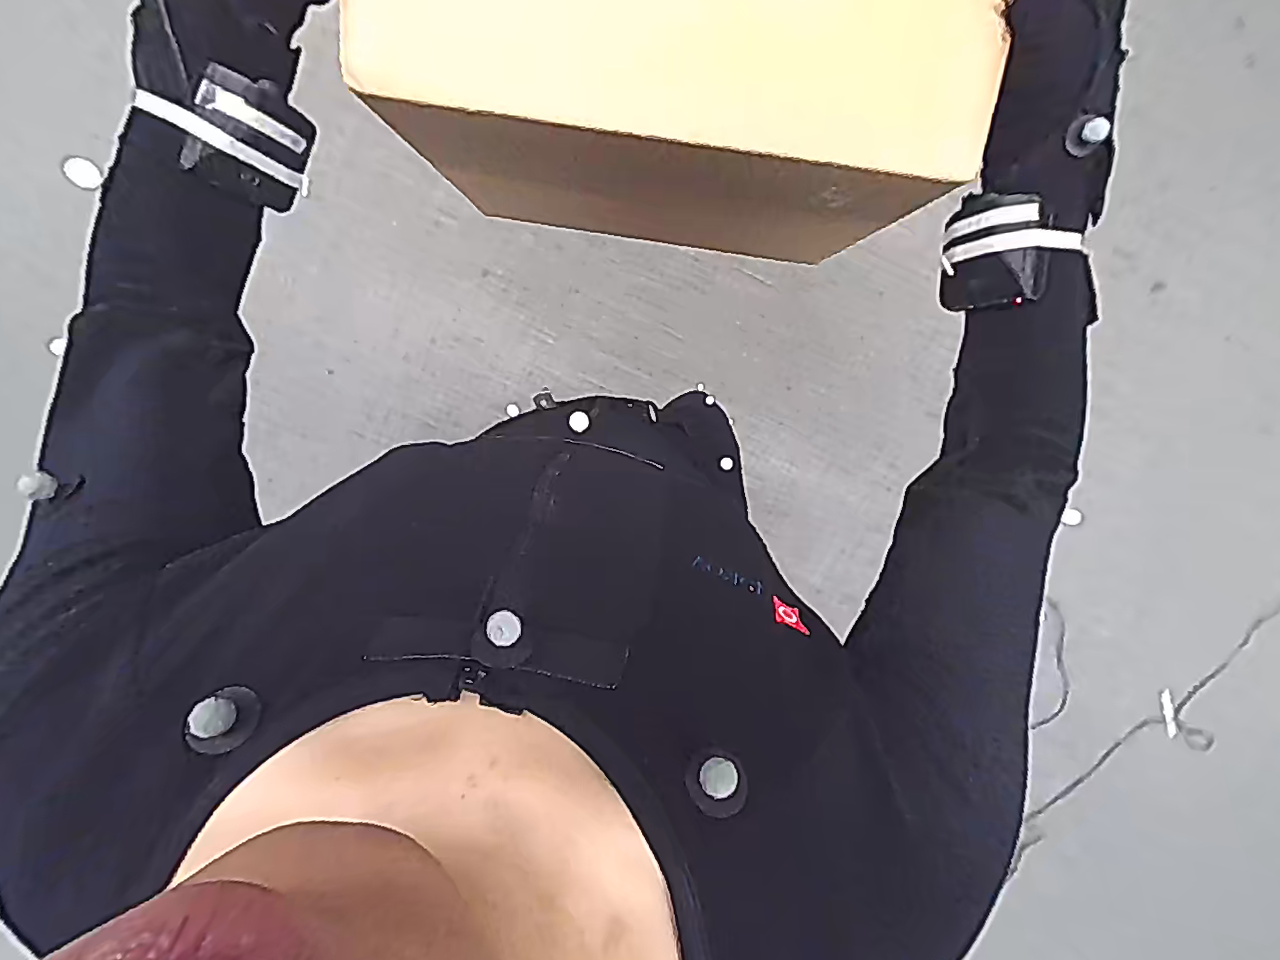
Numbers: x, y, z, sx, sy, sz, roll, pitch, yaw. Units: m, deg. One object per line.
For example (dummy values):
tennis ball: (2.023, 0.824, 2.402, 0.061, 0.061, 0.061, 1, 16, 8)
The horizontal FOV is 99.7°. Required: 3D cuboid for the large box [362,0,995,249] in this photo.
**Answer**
large box: (0.030, -0.410, 0.467, 0.408, 0.320, 0.320, 6, 103, -2)
